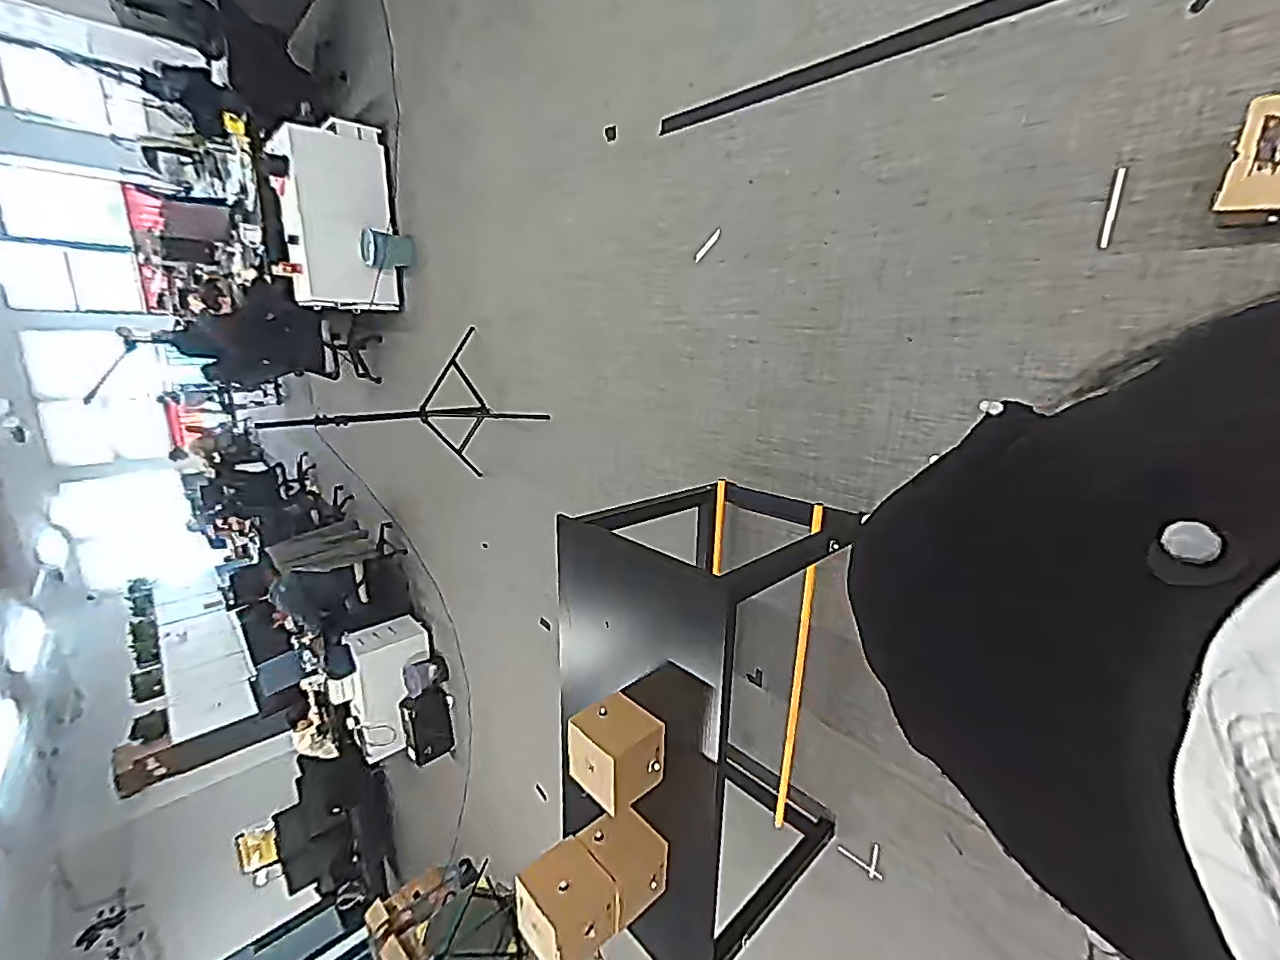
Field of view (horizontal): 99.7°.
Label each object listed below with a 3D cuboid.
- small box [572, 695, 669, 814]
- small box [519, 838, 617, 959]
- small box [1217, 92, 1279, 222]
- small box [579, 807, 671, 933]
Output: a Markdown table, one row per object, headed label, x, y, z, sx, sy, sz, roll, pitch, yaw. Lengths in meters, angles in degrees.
| label | x | y | z | sx | sy | sz | roll | pitch | yaw |
| --- | --- | --- | --- | --- | --- | --- | --- | --- | --- |
| small box | -0.049 | 0.660 | 1.329 | 0.179 | 0.176 | 0.168 | 15 | 112 | 45 |
| small box | -0.169 | 1.017 | 1.298 | 0.179 | 0.176 | 0.168 | 15 | 110 | 45 |
| small box | 1.085 | -0.519 | 0.871 | 0.179 | 0.176 | 0.168 | 22 | 115 | 43 |
| small box | -0.042 | 0.990 | 1.399 | 0.179 | 0.176 | 0.168 | 19 | 113 | 44 |
